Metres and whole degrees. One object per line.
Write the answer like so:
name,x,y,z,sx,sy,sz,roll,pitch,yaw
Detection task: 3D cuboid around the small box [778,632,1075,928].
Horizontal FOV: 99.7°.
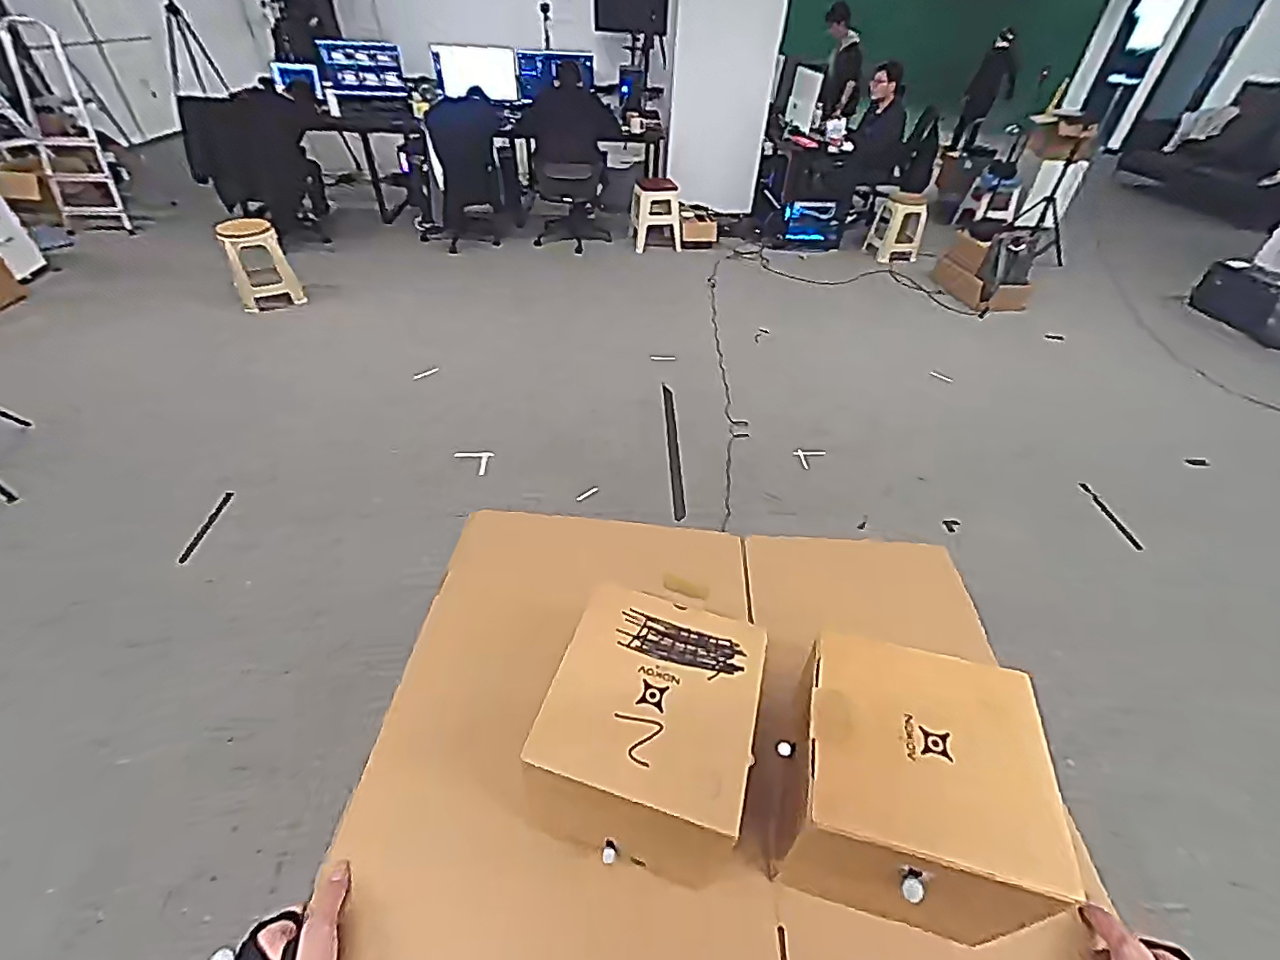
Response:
small box,0.232,0.269,0.487,0.179,0.176,0.168,10,44,13
